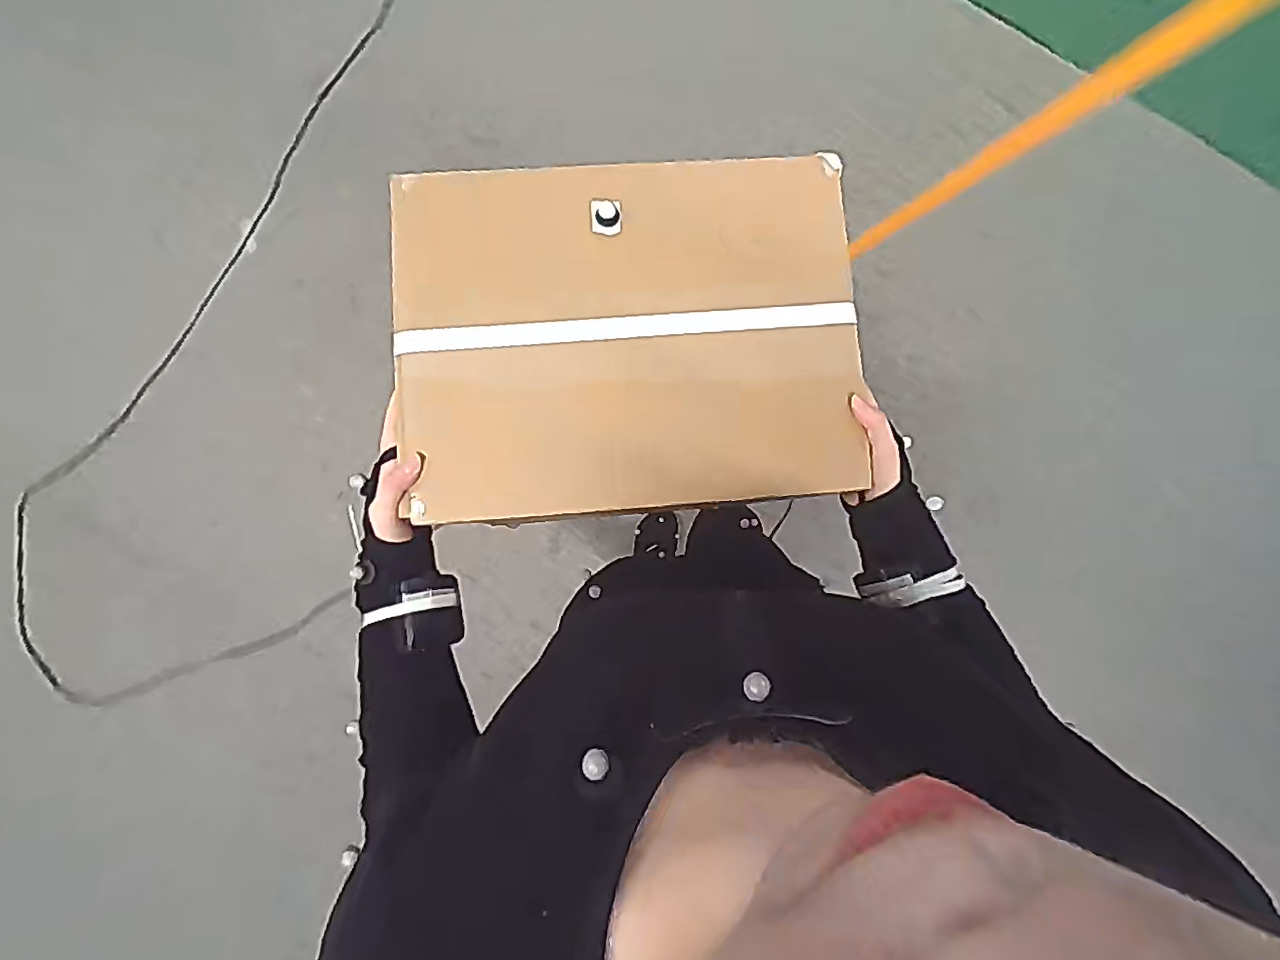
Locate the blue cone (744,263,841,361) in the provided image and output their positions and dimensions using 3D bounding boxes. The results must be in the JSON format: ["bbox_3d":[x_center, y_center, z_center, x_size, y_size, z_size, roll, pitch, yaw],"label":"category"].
[{"bbox_3d":[0.403,-0.449,1.332,0.193,0.380,0.192,-25,90,-2],"label":"blue cone"}]
